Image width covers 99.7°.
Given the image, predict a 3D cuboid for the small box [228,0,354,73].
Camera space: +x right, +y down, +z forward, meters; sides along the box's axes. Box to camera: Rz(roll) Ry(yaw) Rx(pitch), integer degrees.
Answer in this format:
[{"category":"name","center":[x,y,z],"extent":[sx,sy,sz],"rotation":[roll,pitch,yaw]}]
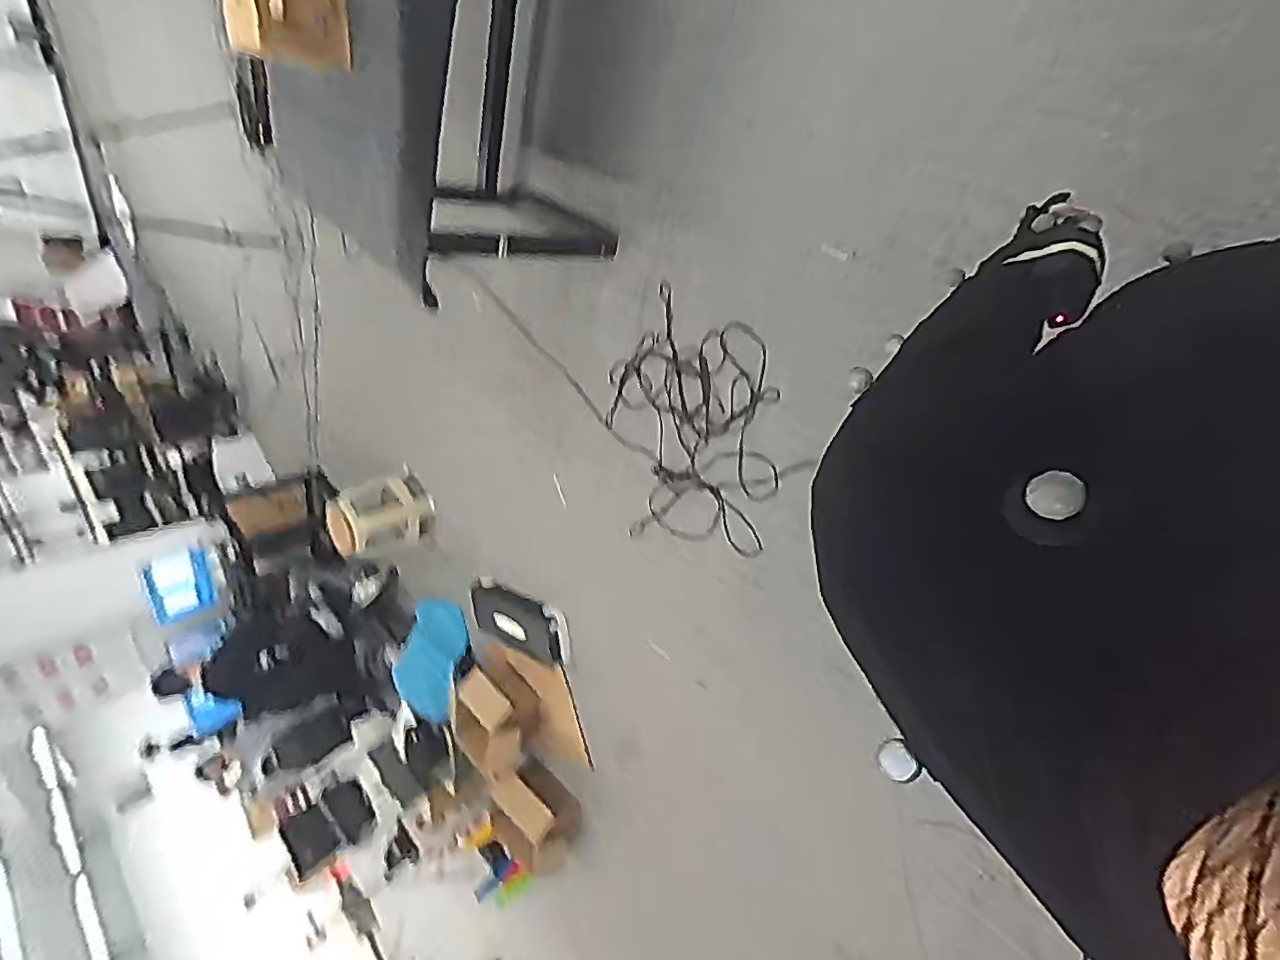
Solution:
[{"category":"small box","center":[-0.695,-0.932,1.075],"extent":[0.179,0.176,0.168],"rotation":[30,124,31]}]
